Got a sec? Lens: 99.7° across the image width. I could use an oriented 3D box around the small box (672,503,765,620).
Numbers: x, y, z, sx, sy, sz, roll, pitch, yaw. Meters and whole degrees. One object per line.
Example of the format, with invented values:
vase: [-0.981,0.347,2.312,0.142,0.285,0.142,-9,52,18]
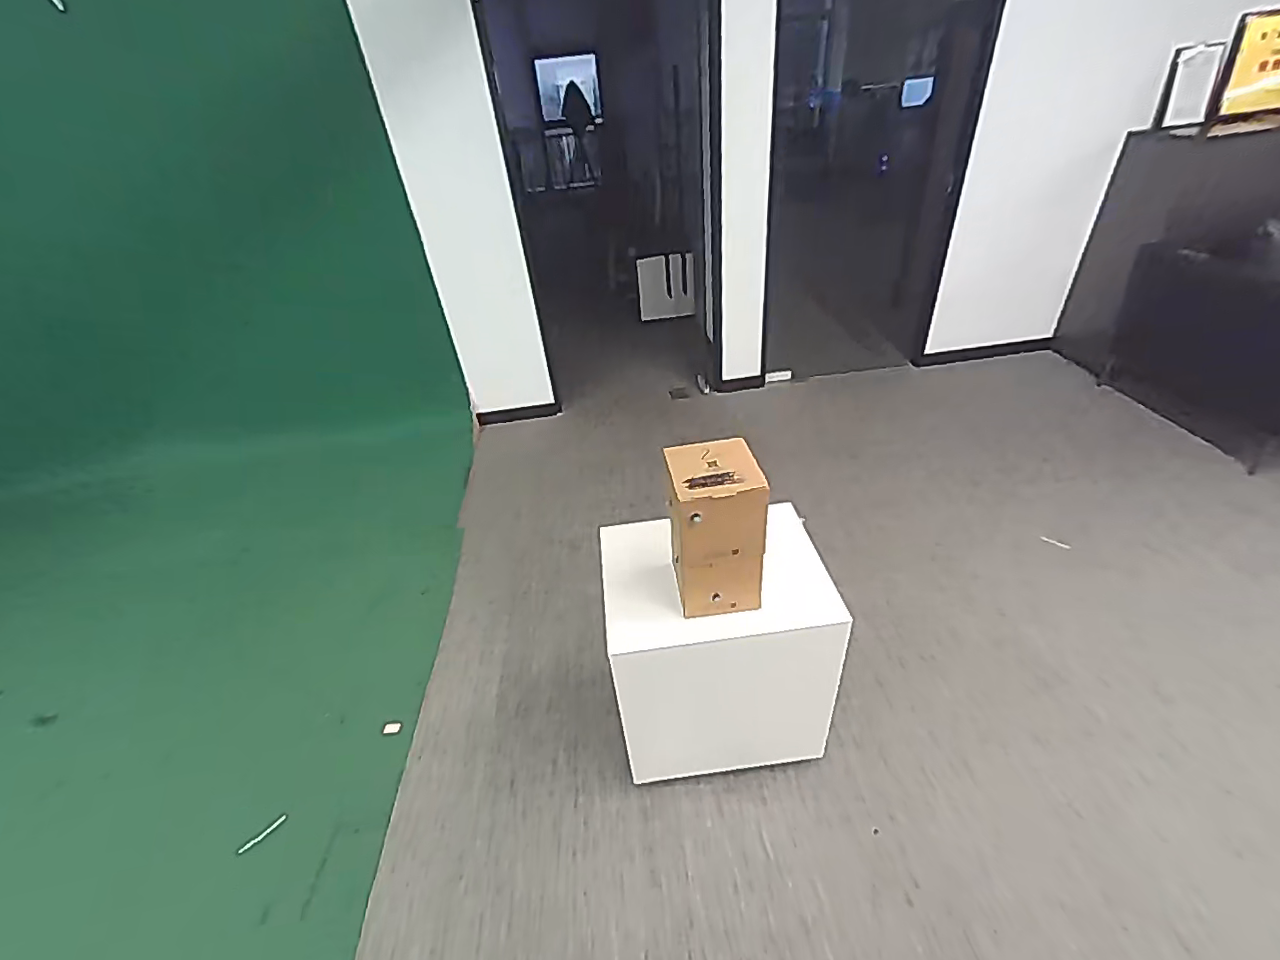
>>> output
small box: [0.161,0.173,1.159,0.168,0.176,0.179,-7,35,-2]
